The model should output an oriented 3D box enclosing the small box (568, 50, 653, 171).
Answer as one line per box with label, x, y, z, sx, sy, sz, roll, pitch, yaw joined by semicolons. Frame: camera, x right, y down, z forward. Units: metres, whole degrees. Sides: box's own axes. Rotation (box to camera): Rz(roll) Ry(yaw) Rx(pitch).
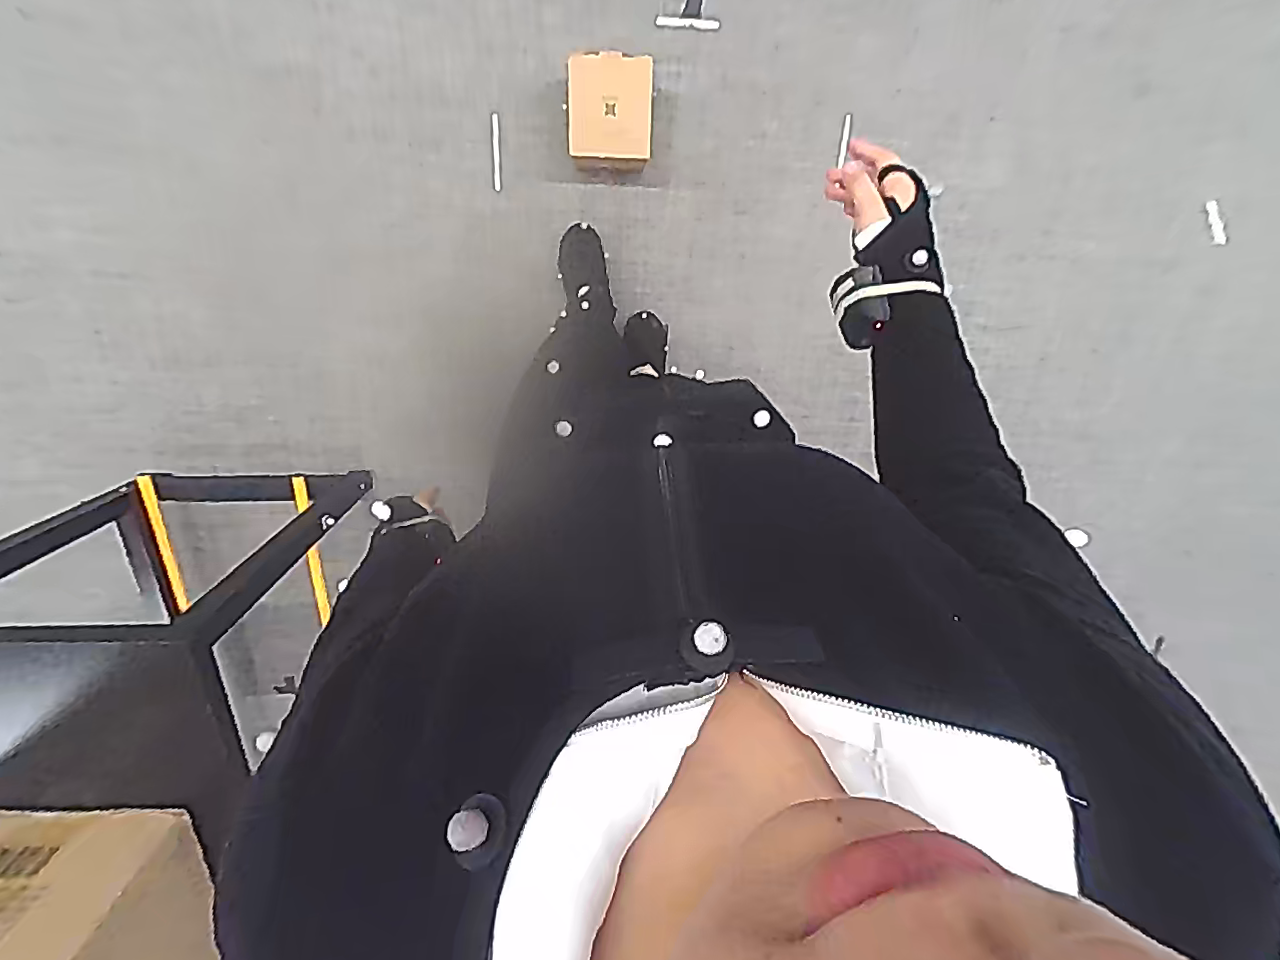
small box;-0.064;-0.765;1.135;0.168;0.176;0.179;0;113;-3
